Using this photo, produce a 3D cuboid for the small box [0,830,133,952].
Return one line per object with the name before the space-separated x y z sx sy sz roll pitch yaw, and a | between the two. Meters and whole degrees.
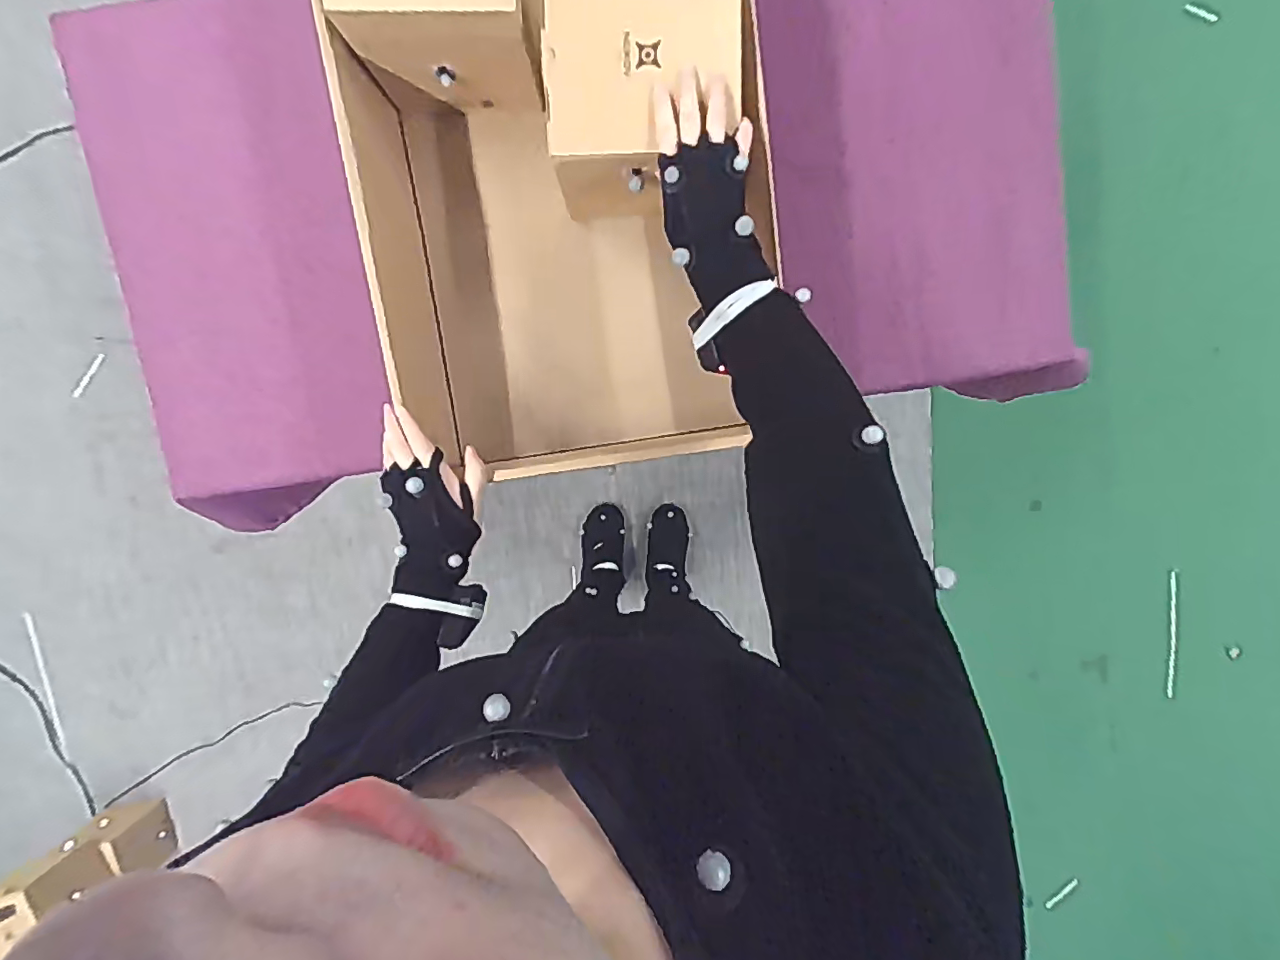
small box | -1.469 1.031 1.376 0.168 0.176 0.179 -18 97 3
